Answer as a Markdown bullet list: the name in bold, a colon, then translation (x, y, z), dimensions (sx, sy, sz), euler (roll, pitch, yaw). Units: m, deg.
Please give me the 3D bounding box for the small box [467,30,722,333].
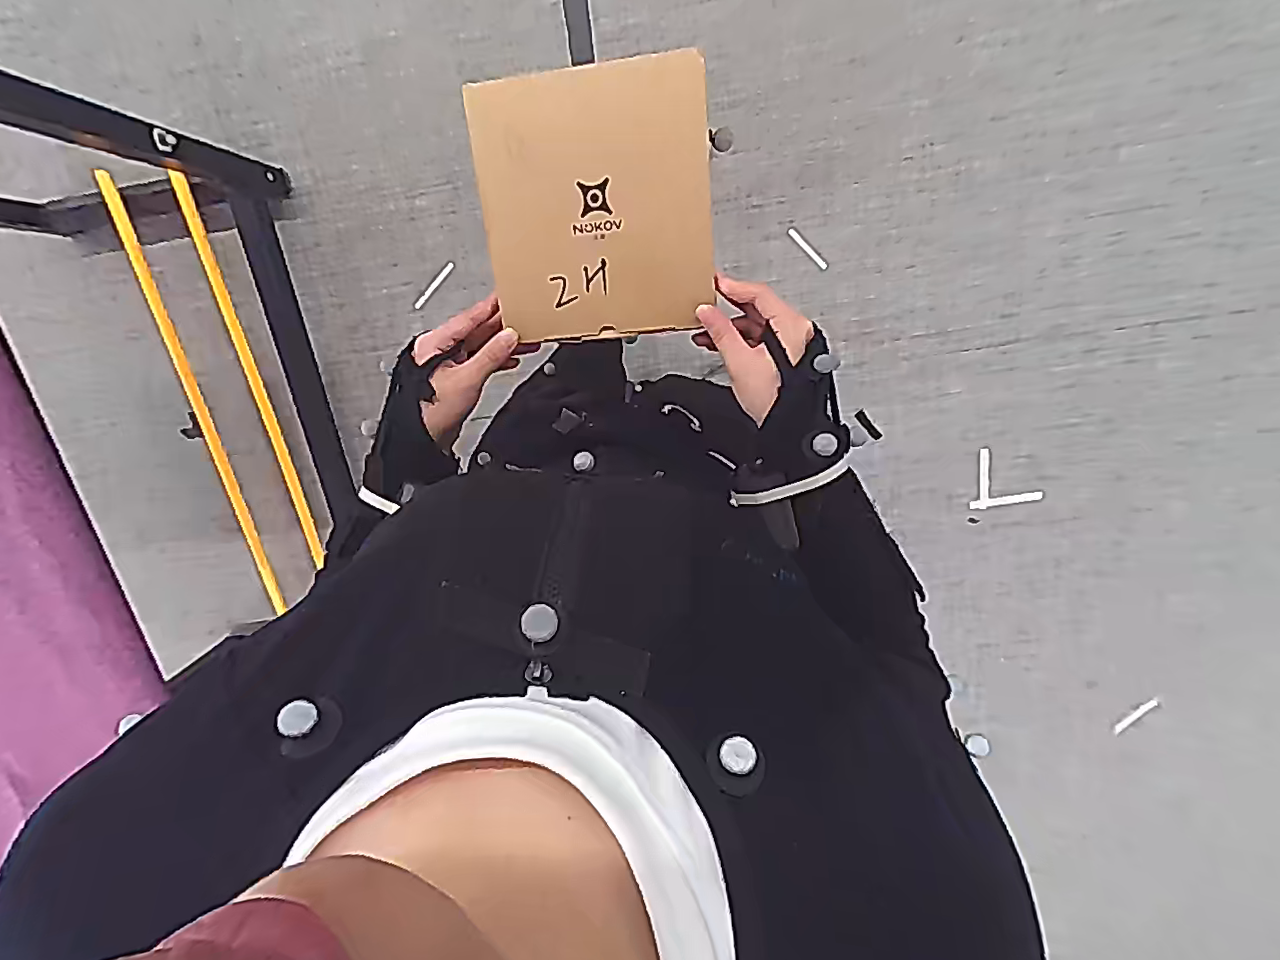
- **small box**: translation (-0.019, -0.221, 0.446), dimensions (0.168, 0.176, 0.179), euler (-2, 109, 8)
